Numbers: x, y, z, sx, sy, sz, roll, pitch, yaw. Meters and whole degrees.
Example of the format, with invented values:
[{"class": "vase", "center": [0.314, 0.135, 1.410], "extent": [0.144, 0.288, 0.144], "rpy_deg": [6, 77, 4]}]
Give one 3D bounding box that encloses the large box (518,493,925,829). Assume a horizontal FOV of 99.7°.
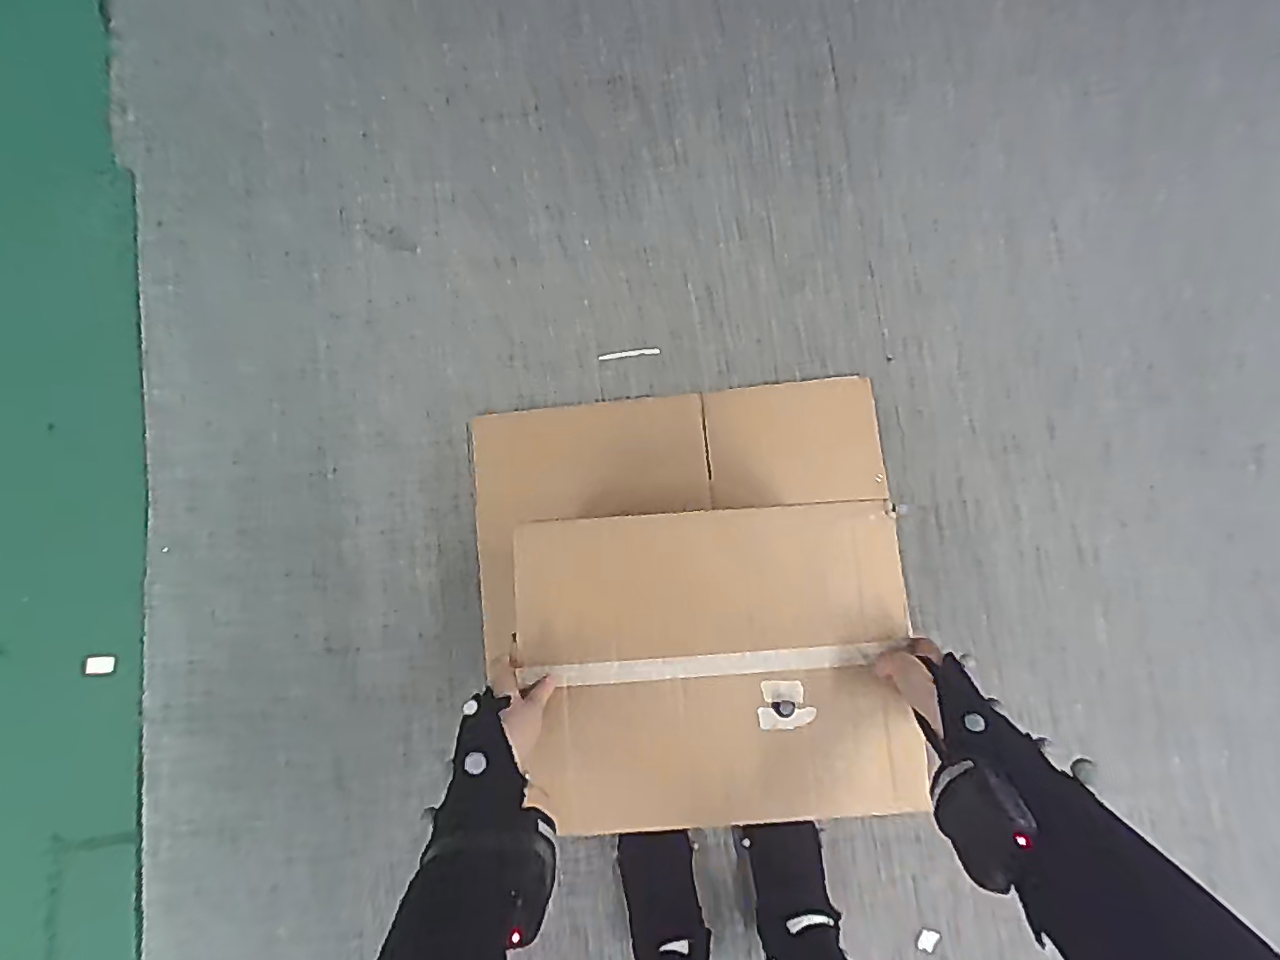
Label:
[{"class": "large box", "center": [0.075, 0.198, 0.704], "extent": [0.408, 0.320, 0.320], "rpy_deg": [-4, 84, -1]}]
